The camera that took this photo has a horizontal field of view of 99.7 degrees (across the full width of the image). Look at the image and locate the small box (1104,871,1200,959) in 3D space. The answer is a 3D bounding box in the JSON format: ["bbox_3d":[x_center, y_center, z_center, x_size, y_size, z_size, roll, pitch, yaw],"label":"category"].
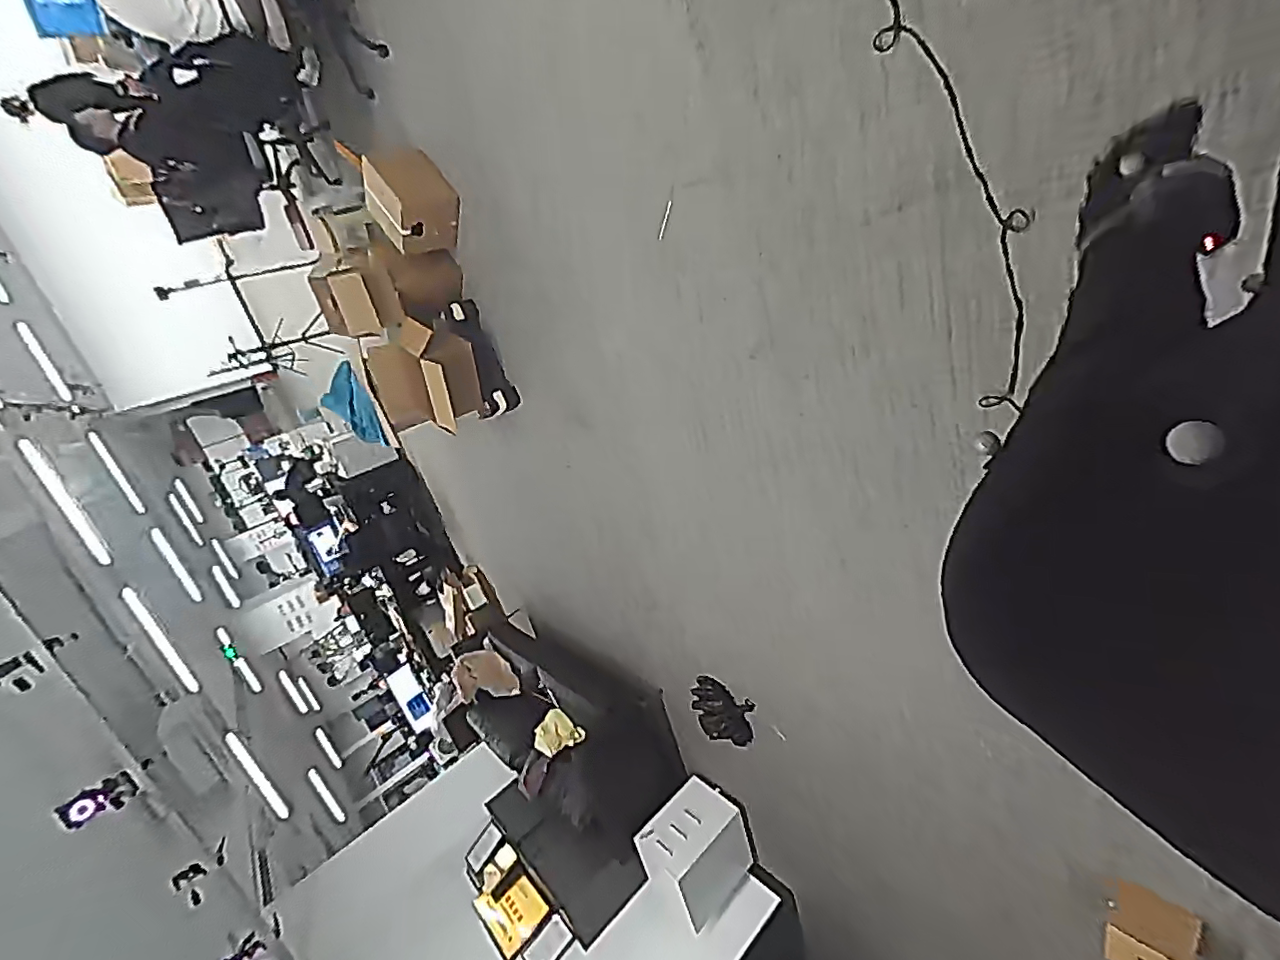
[{"bbox_3d":[1.489,1.302,1.573,0.179,0.176,0.168,12,124,51],"label":"small box"}]
